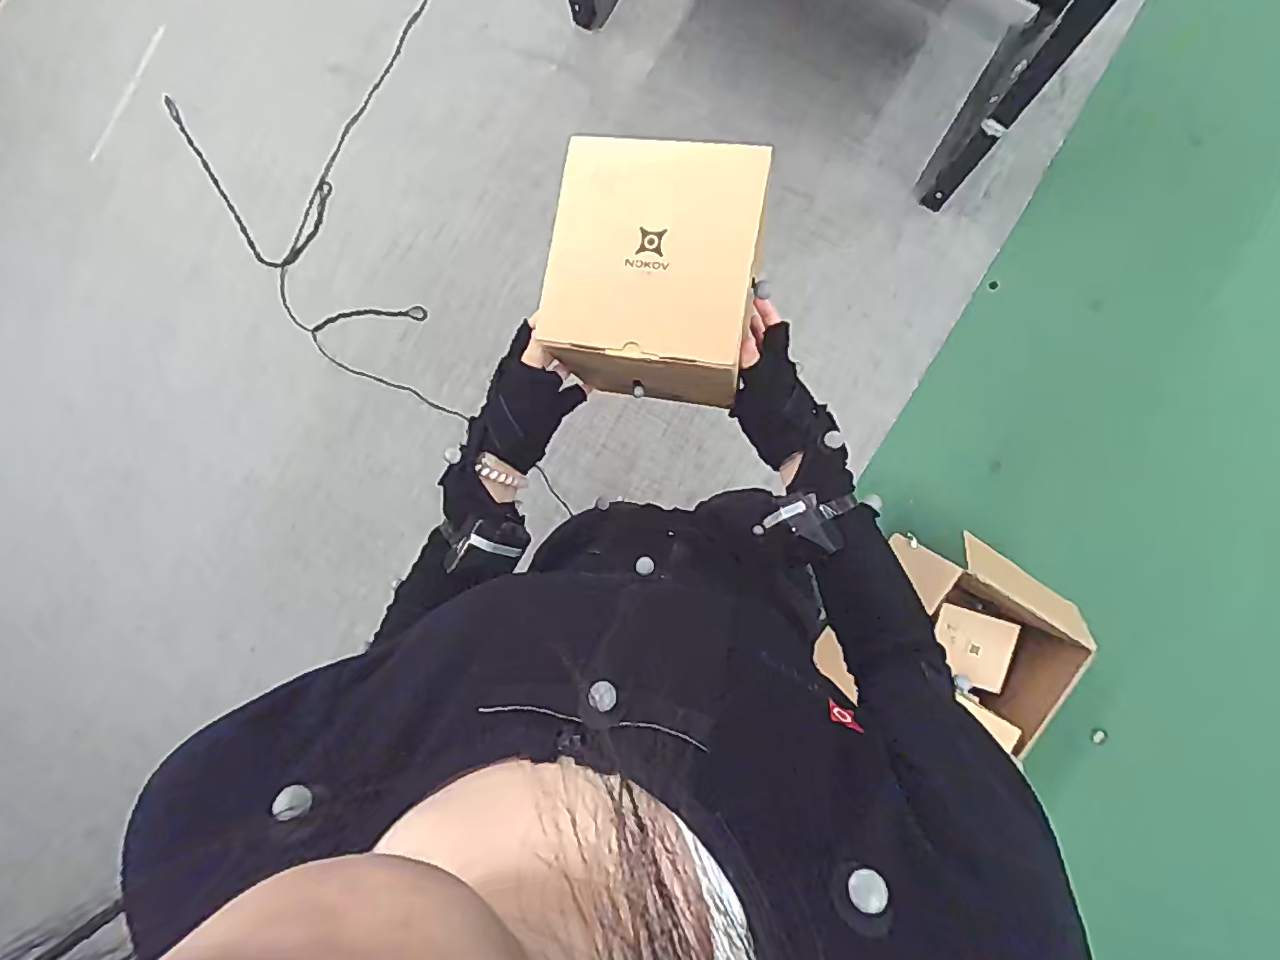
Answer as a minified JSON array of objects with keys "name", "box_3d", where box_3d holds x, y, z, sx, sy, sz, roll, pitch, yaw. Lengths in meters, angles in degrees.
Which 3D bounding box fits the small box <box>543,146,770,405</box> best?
[{"name":"small box","box_3d":[0.023,-0.182,0.523,0.168,0.176,0.179,10,90,10]}]
